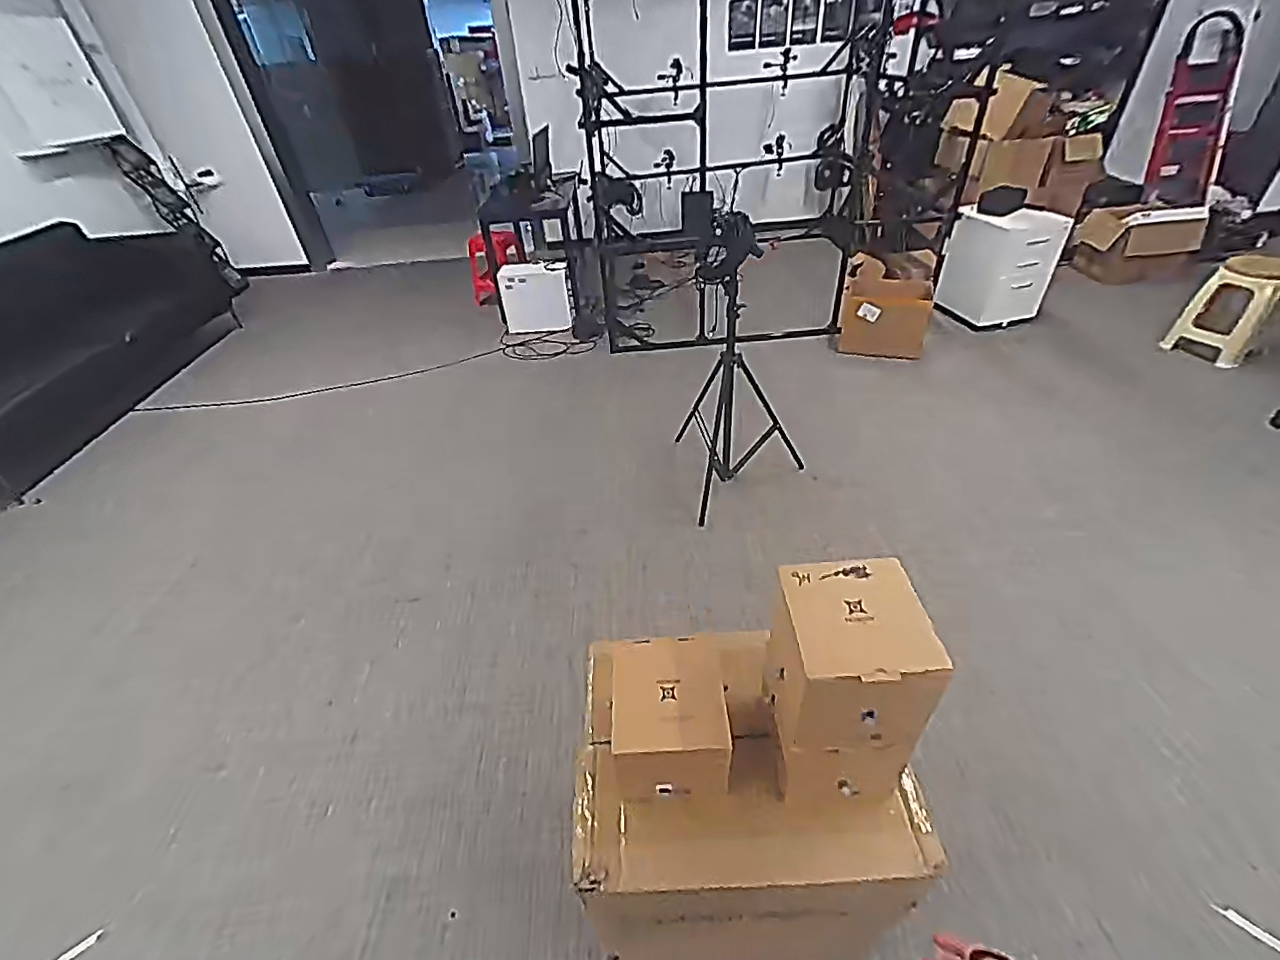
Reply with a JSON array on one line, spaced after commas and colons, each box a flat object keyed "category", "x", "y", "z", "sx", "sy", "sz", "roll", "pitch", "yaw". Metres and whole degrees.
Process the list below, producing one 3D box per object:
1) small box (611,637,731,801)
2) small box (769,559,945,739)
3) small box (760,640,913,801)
[{"category": "small box", "x": 0.045, "y": 0.372, "z": 0.845, "sx": 0.168, "sy": 0.176, "sz": 0.179, "roll": -5, "pitch": 40, "yaw": 1}, {"category": "small box", "x": 0.273, "y": 0.232, "z": 0.729, "sx": 0.168, "sy": 0.176, "sz": 0.179, "roll": -4, "pitch": 39, "yaw": 3}, {"category": "small box", "x": 0.284, "y": 0.362, "z": 0.828, "sx": 0.168, "sy": 0.176, "sz": 0.179, "roll": -5, "pitch": 39, "yaw": 2}]
